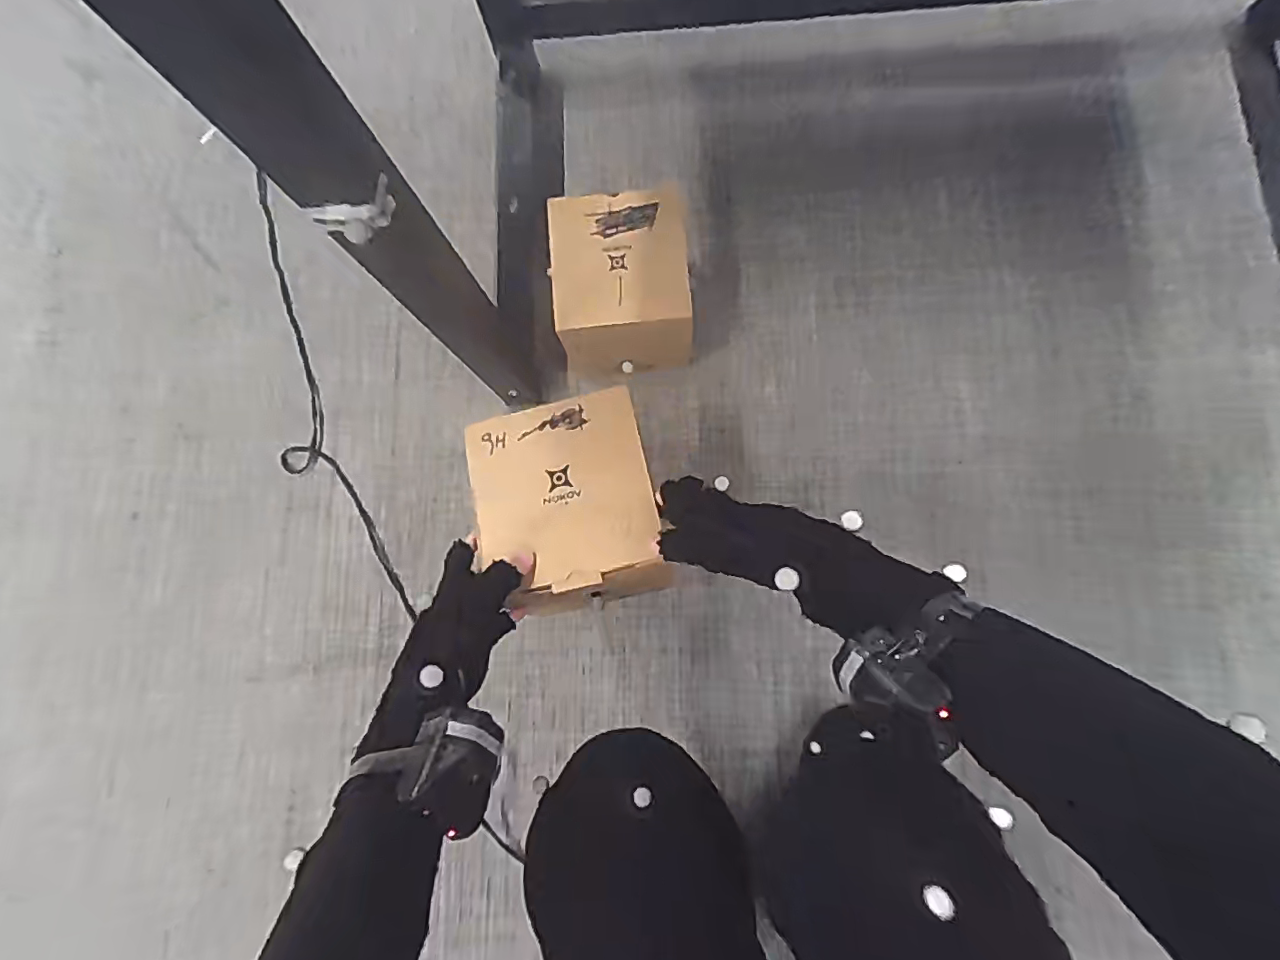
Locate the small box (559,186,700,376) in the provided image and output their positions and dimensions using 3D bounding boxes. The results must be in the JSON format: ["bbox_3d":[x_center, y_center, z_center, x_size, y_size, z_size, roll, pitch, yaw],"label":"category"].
[{"bbox_3d":[-0.011,-0.256,0.729,0.168,0.176,0.179,-5,81,3],"label":"small box"}]
